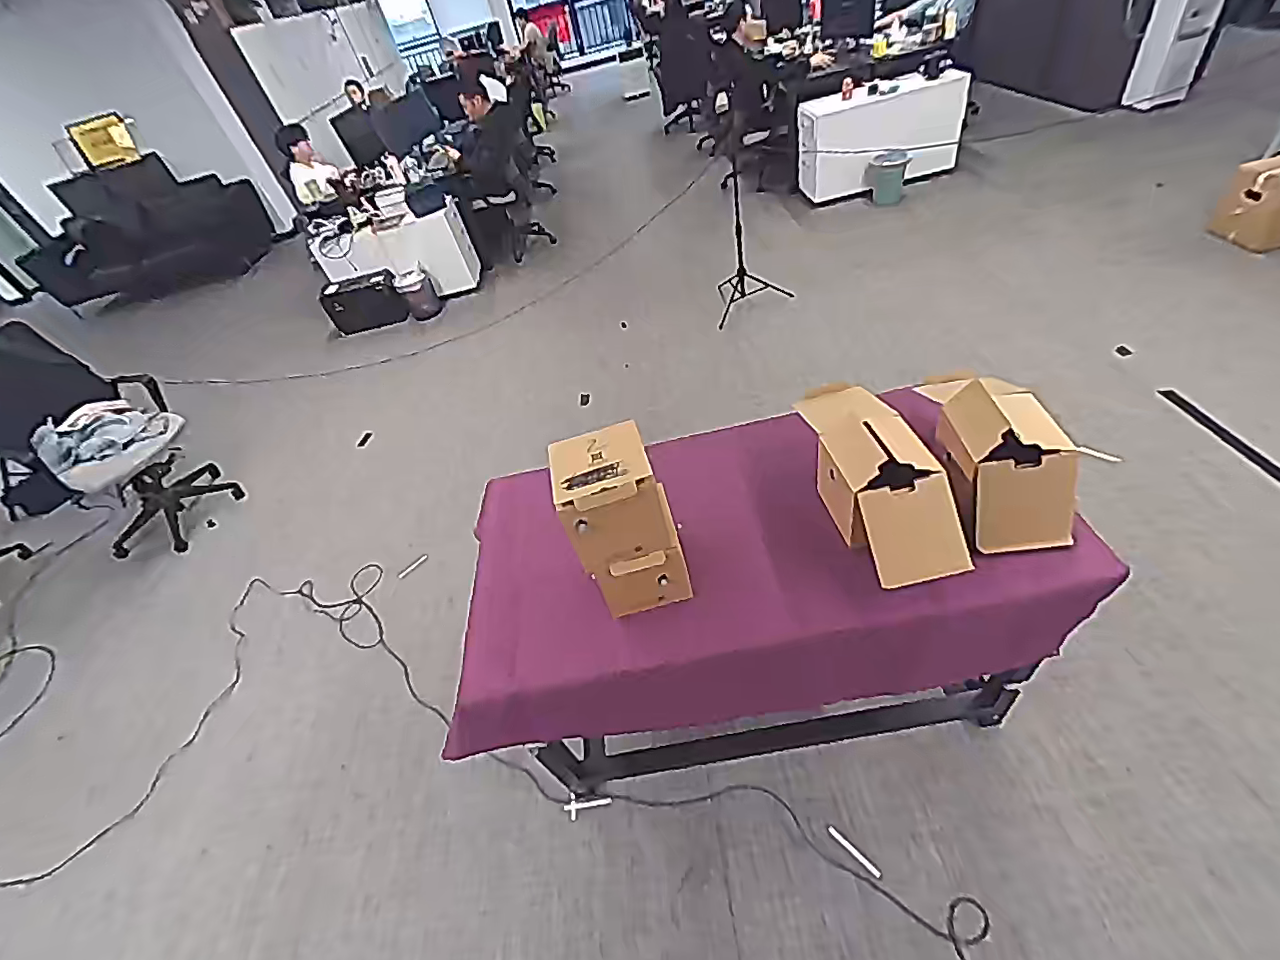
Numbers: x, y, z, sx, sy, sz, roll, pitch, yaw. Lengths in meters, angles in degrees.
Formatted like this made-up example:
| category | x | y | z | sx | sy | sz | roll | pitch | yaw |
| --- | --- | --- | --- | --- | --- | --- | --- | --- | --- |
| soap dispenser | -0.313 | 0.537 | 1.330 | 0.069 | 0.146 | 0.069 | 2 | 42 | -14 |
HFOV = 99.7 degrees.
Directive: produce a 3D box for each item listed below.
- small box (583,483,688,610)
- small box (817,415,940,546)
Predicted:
| category | x | y | z | sx | sy | sz | roll | pitch | yaw |
| --- | --- | --- | --- | --- | --- | --- | --- | --- | --- |
| small box | -0.008 | 0.140 | 1.081 | 0.168 | 0.176 | 0.179 | -15 | 44 | 1 |
| small box | 0.460 | 0.002 | 1.077 | 0.168 | 0.176 | 0.179 | -15 | 44 | 3 |
